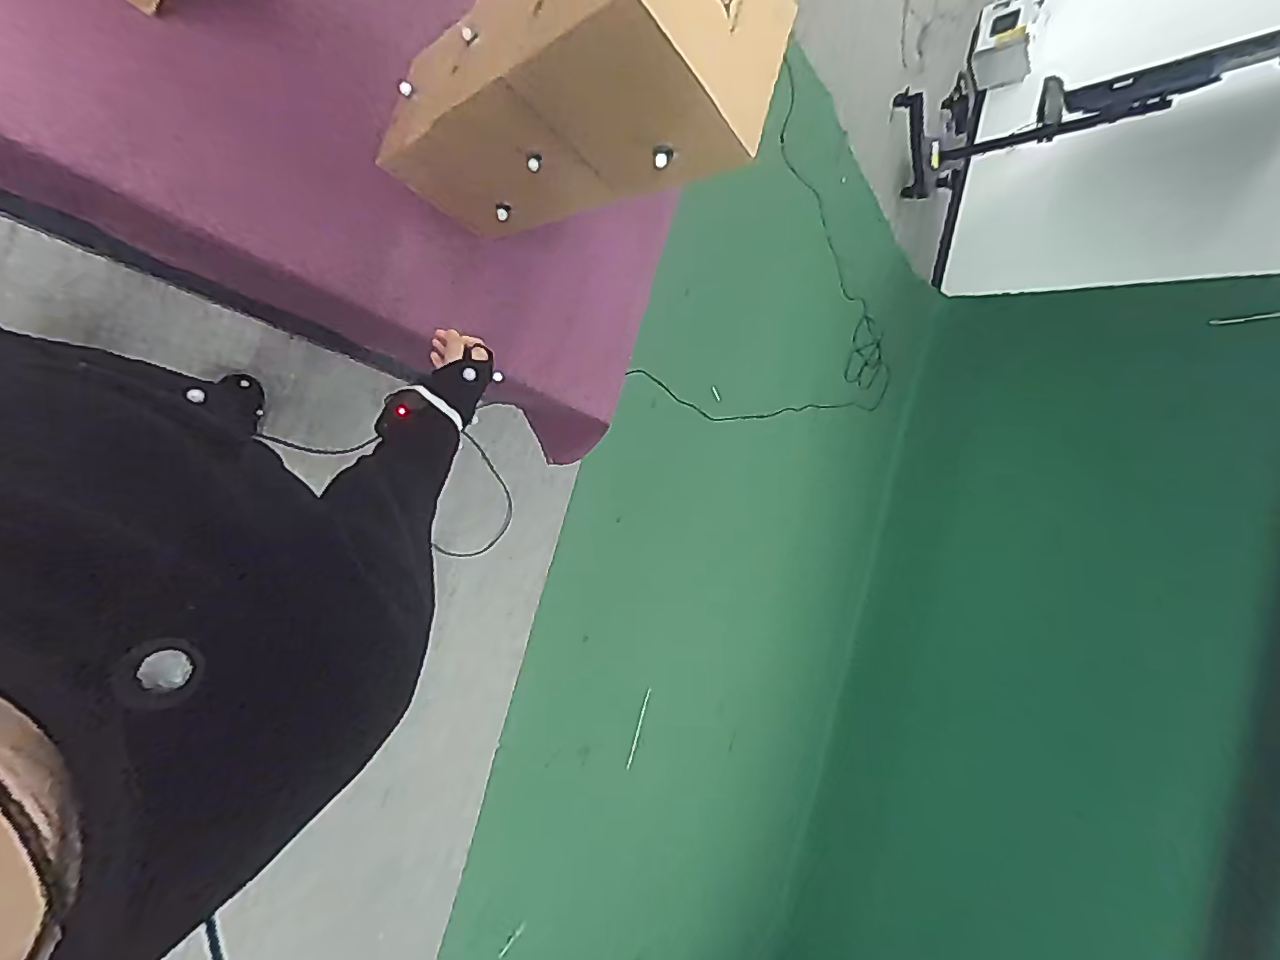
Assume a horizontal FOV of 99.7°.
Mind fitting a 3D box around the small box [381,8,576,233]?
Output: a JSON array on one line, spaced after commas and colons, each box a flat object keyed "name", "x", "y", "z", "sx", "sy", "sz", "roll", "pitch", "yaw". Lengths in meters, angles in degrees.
[{"name": "small box", "x": -0.211, "y": -0.459, "z": 0.729, "sx": 0.179, "sy": 0.176, "sz": 0.168, "roll": 23, "pitch": 81, "yaw": -46}]

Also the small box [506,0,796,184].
[{"name": "small box", "x": 0.012, "y": -0.403, "z": 0.494, "sx": 0.179, "sy": 0.176, "sz": 0.168, "roll": 23, "pitch": 81, "yaw": -46}]
